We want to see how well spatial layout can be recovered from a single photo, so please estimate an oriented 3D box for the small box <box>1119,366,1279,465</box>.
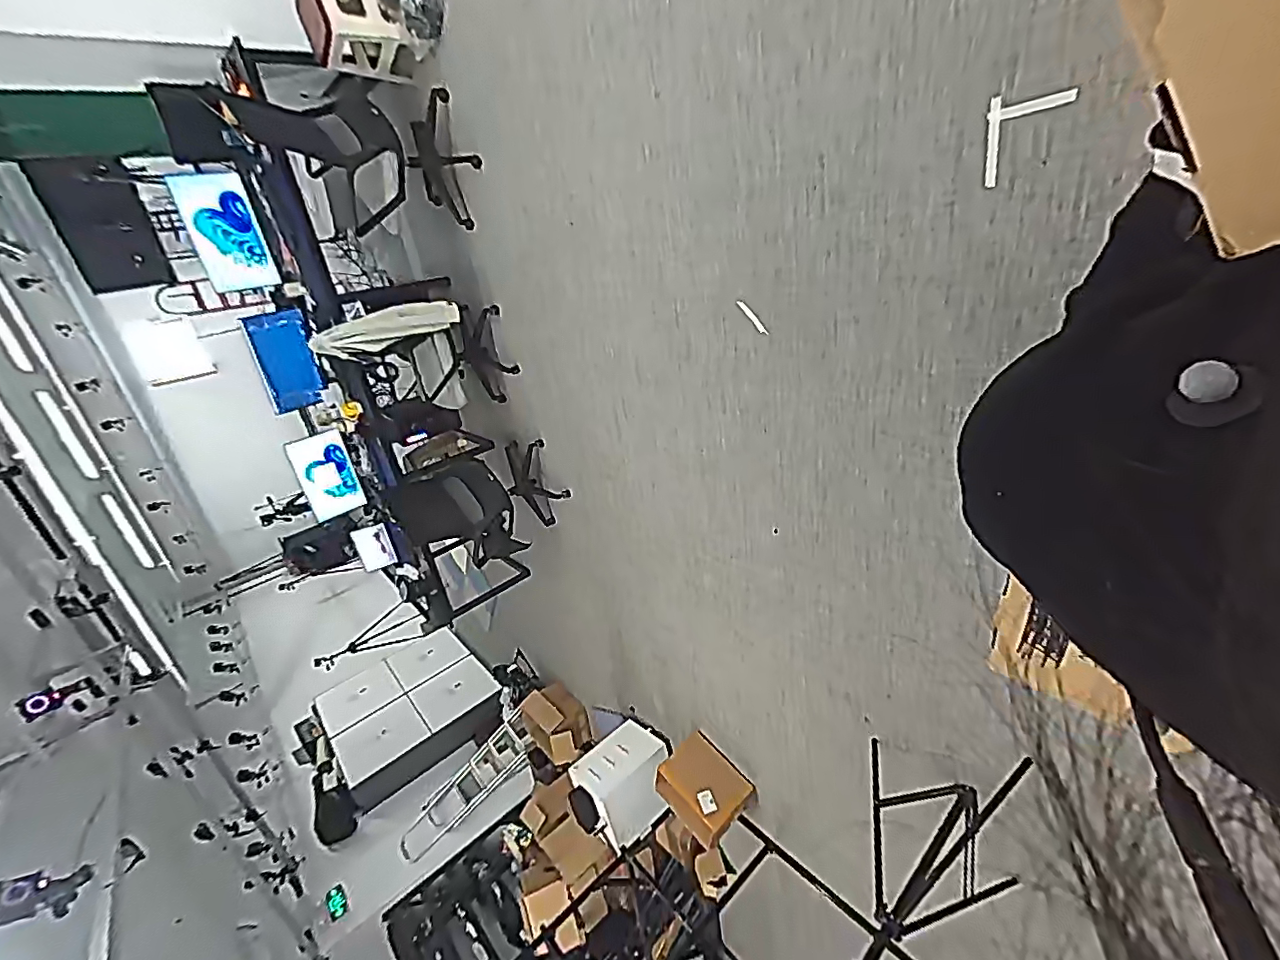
[{"bbox_3d":[0.863,-0.067,0.846,0.179,0.176,0.168,29,133,42],"label":"small box"}]
